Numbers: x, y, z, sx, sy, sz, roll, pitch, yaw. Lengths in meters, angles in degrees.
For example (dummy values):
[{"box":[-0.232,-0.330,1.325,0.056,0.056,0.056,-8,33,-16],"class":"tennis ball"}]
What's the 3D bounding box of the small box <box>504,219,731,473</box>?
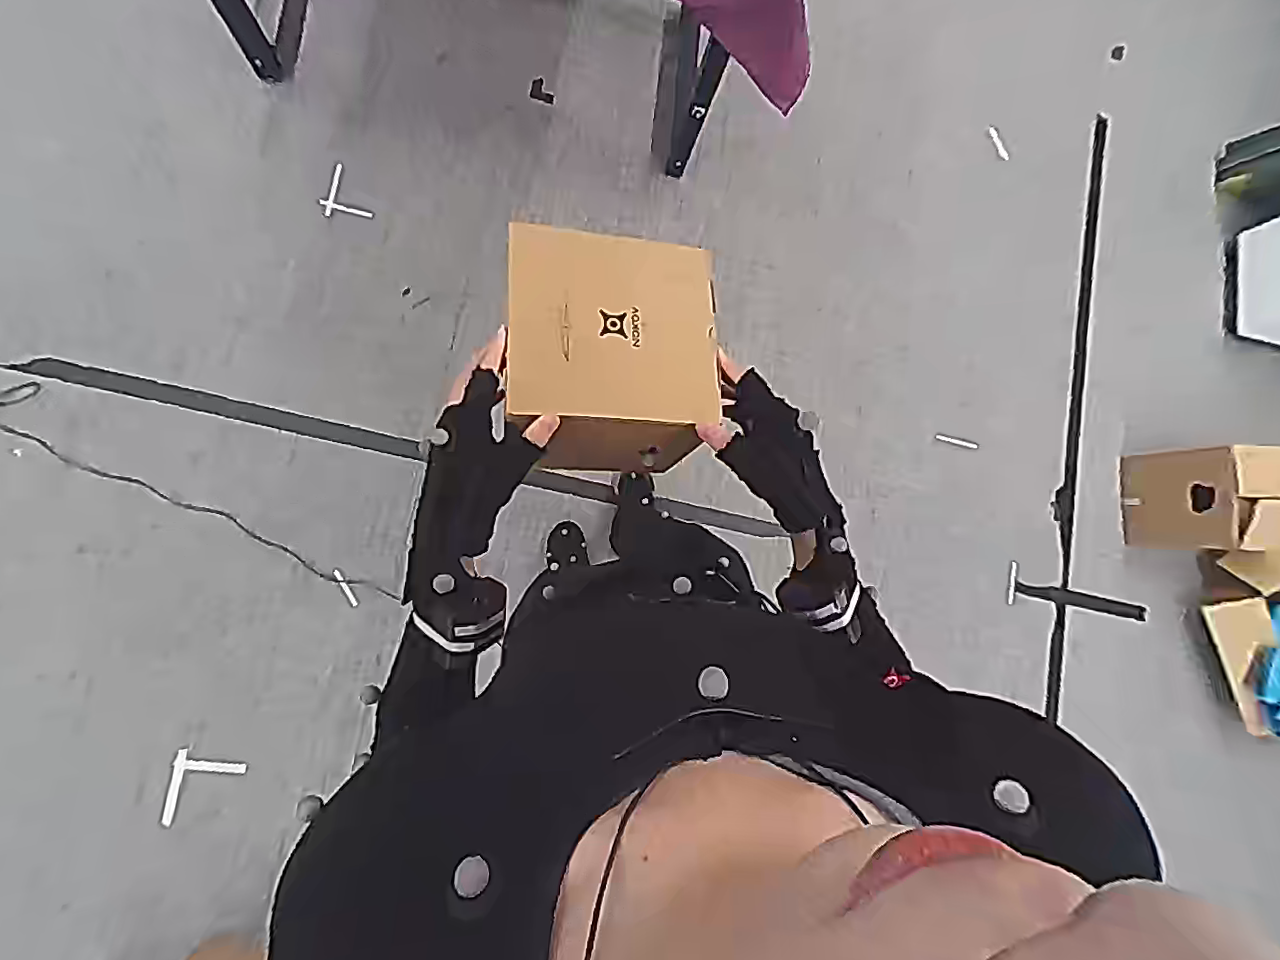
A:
[{"box":[-0.035,-0.108,0.506,0.179,0.176,0.168,0,74,-15],"class":"small box"}]
